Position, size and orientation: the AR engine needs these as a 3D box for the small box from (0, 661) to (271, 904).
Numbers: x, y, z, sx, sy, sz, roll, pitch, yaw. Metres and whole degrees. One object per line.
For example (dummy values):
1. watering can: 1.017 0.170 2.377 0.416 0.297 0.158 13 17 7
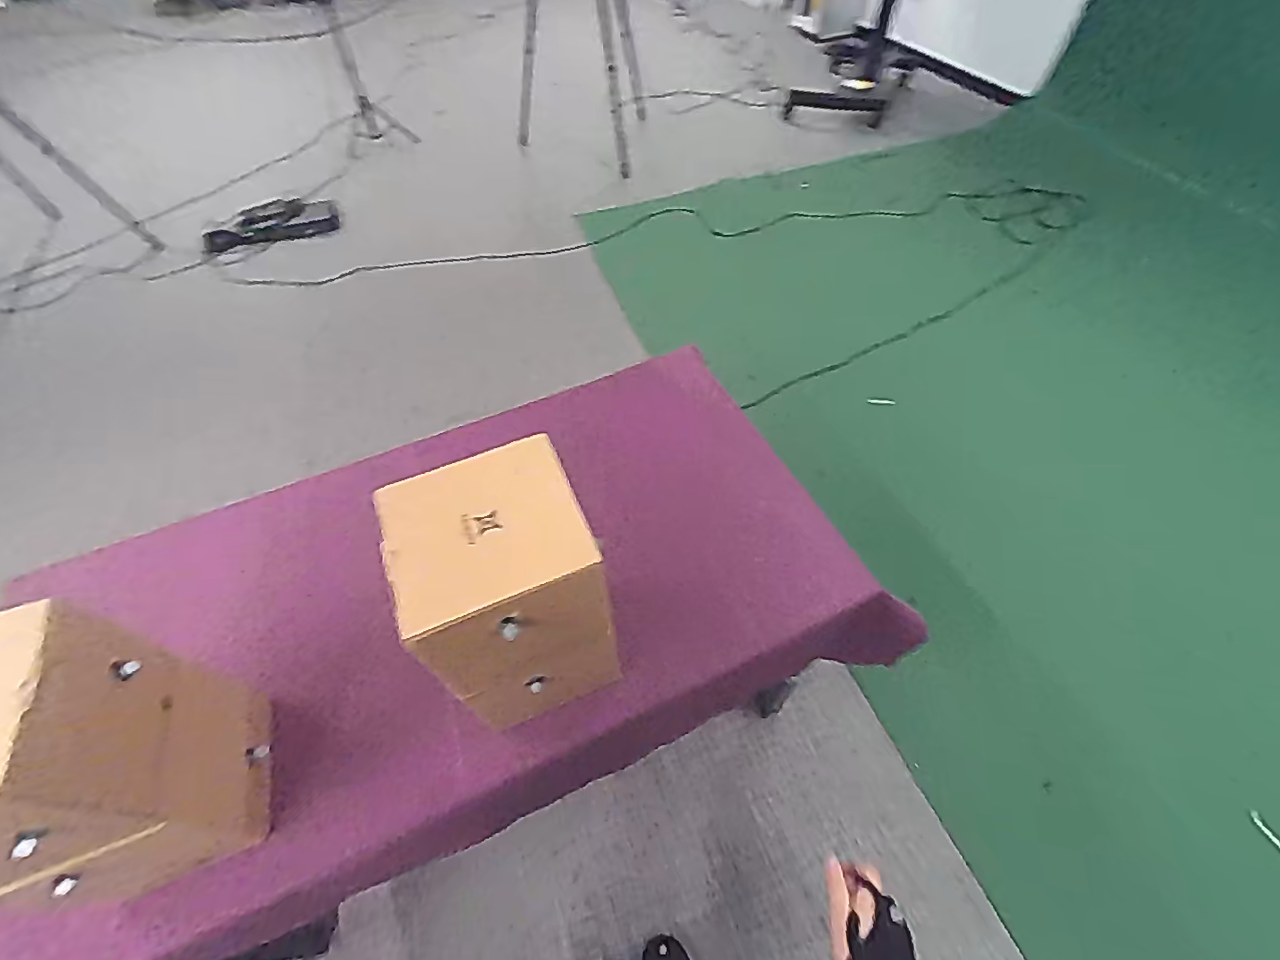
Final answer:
1. small box: -0.543 0.337 0.600 0.168 0.176 0.179 -20 54 -11

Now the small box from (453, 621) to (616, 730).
1. small box: -0.142 0.194 0.692 0.179 0.176 0.168 -20 55 -13

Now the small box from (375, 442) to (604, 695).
1. small box: -0.144 0.095 0.562 0.179 0.176 0.168 -21 56 -12

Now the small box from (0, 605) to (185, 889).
1. small box: -0.548 0.239 0.469 0.179 0.176 0.168 -19 54 -11
